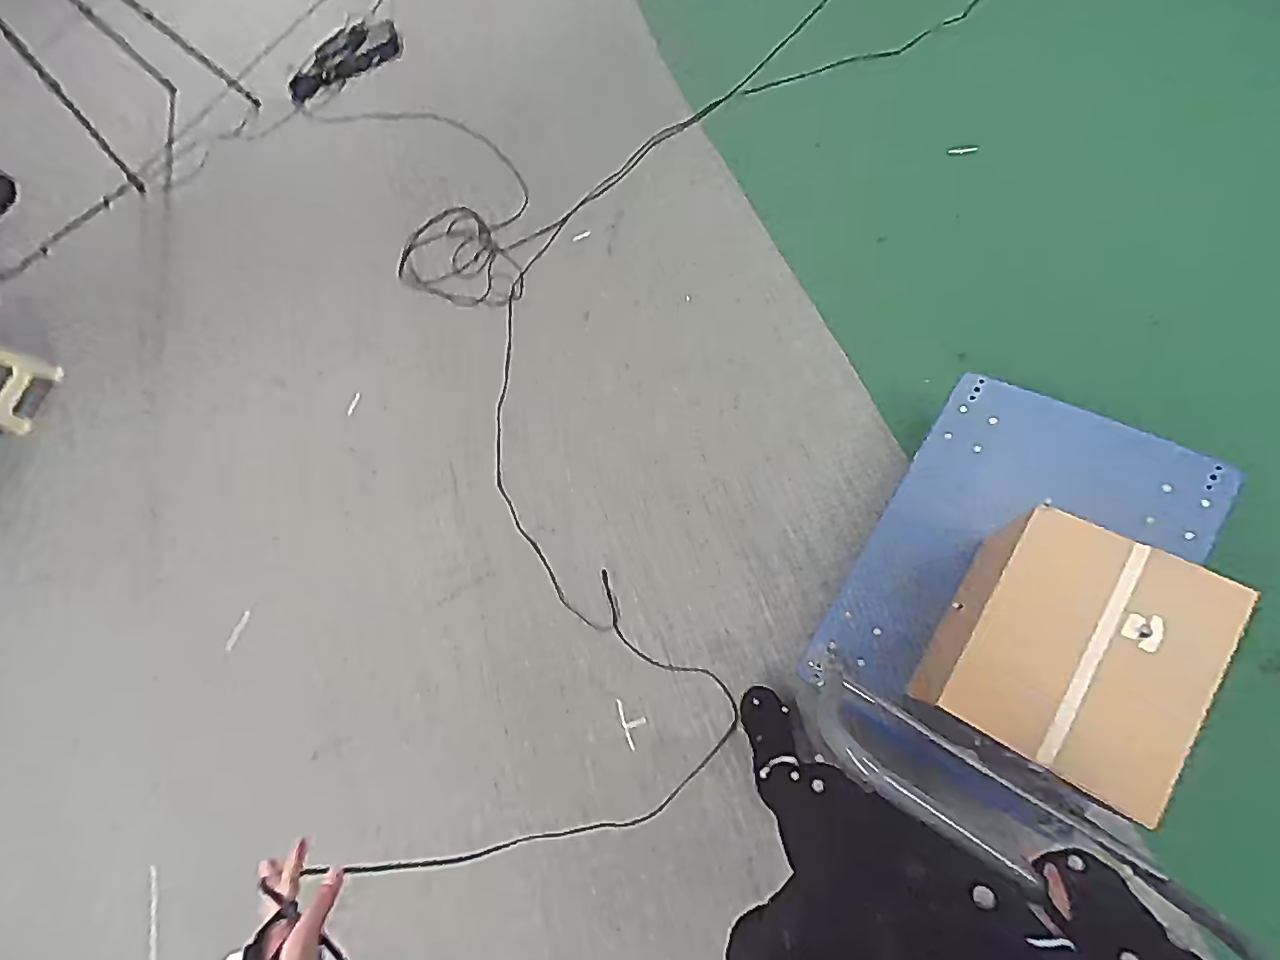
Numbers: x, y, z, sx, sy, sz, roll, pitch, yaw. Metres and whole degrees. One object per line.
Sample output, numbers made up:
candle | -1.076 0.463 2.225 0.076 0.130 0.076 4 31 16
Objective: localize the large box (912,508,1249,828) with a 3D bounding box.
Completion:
large box | 0.767 0.328 1.007 0.320 0.320 0.408 29 81 22
